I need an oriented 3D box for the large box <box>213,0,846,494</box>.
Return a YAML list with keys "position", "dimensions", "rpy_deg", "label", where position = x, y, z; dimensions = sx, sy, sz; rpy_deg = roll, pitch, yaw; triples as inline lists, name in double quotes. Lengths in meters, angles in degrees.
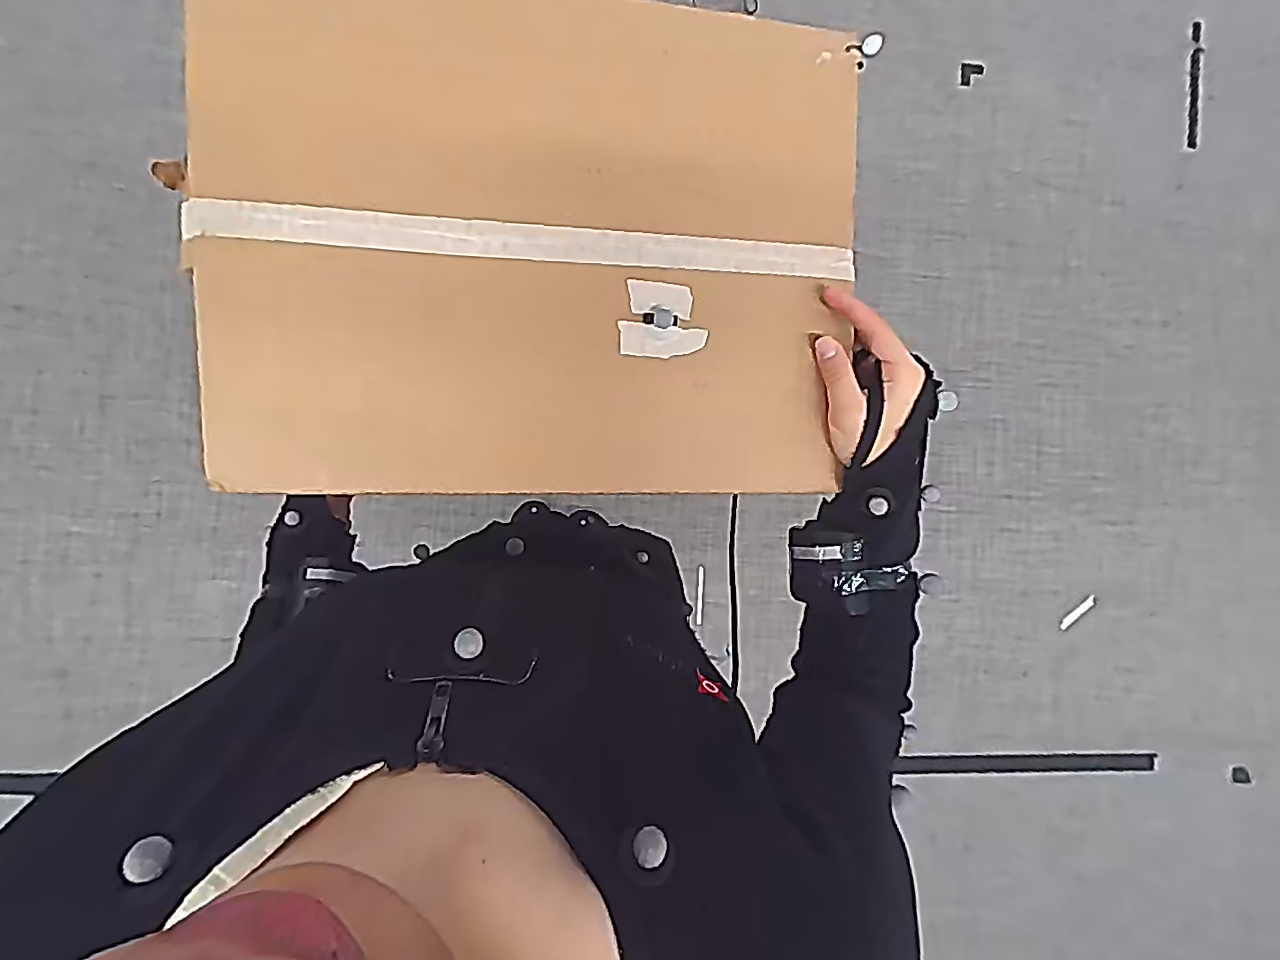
- position: [-0.079, -0.158, 0.498]
  dimensions: [0.408, 0.320, 0.320]
  rpy_deg: [0, 94, -11]
  label: "large box"
